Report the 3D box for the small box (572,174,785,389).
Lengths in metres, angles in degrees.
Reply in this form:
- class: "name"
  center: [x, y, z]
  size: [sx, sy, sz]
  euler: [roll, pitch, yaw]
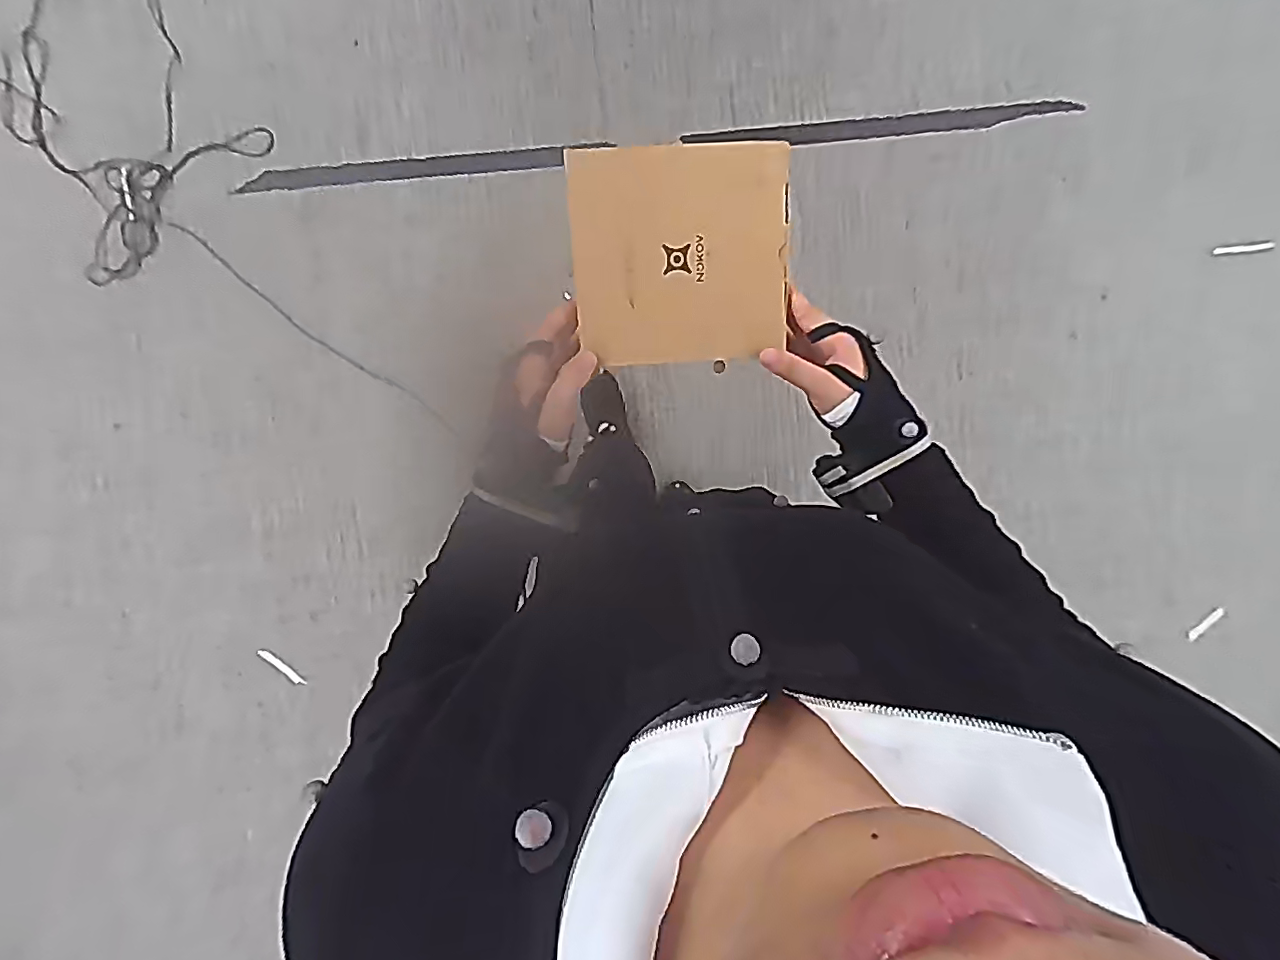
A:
- class: "small box"
  center: [0.032, -0.184, 0.533]
  size: [0.179, 0.176, 0.168]
  euler: [-5, 103, -1]
